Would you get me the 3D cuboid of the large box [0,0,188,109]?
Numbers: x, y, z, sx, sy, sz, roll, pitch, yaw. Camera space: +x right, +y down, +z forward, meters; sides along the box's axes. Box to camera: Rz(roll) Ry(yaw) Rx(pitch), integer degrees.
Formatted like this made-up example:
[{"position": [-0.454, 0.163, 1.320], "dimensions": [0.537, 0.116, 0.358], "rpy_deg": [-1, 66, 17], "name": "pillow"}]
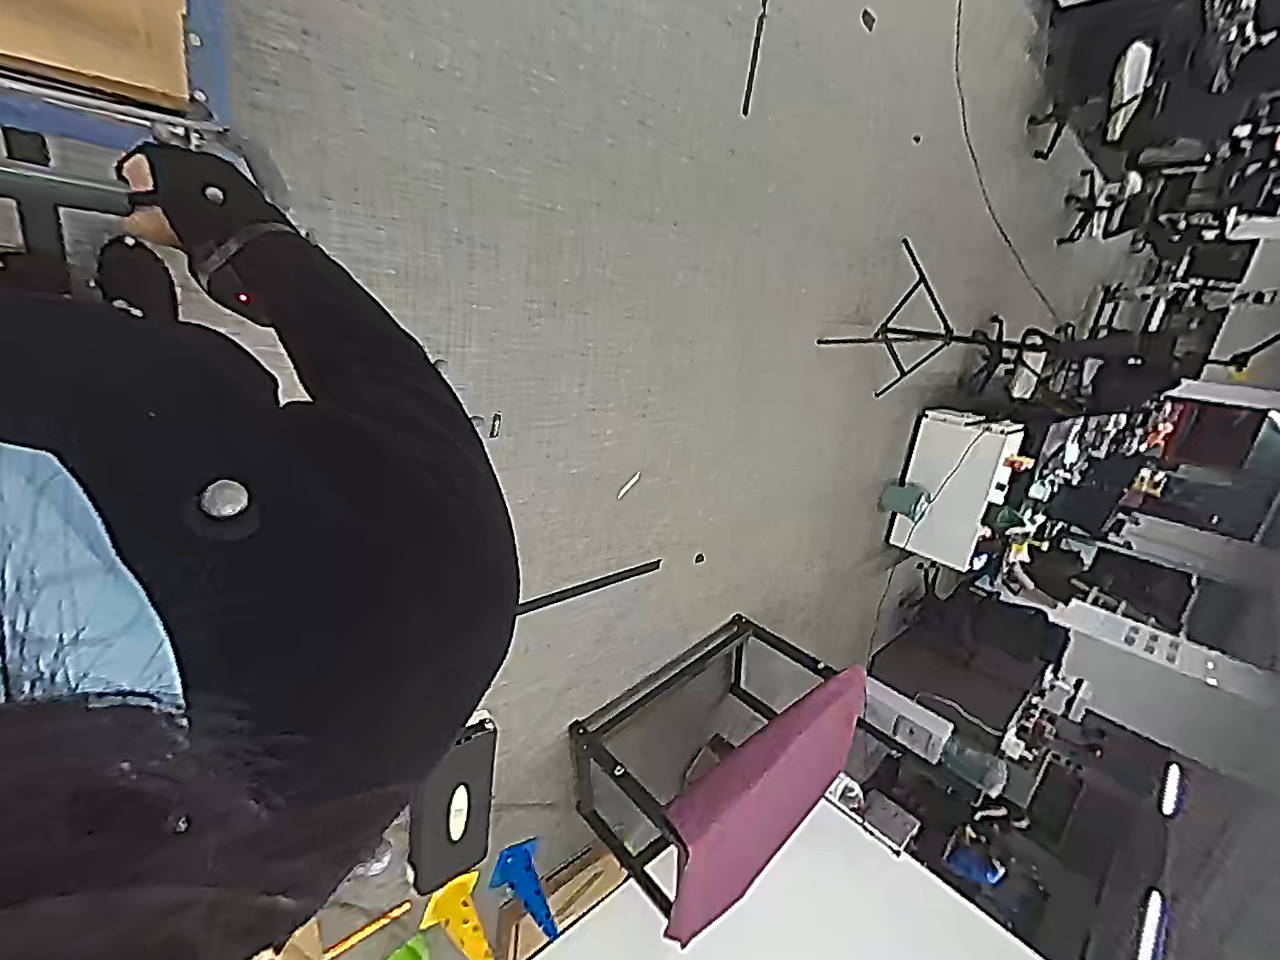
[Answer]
[{"position": [-0.828, -0.680, 0.636], "dimensions": [0.408, 0.320, 0.320], "rpy_deg": [-10, 122, -43], "name": "large box"}]
